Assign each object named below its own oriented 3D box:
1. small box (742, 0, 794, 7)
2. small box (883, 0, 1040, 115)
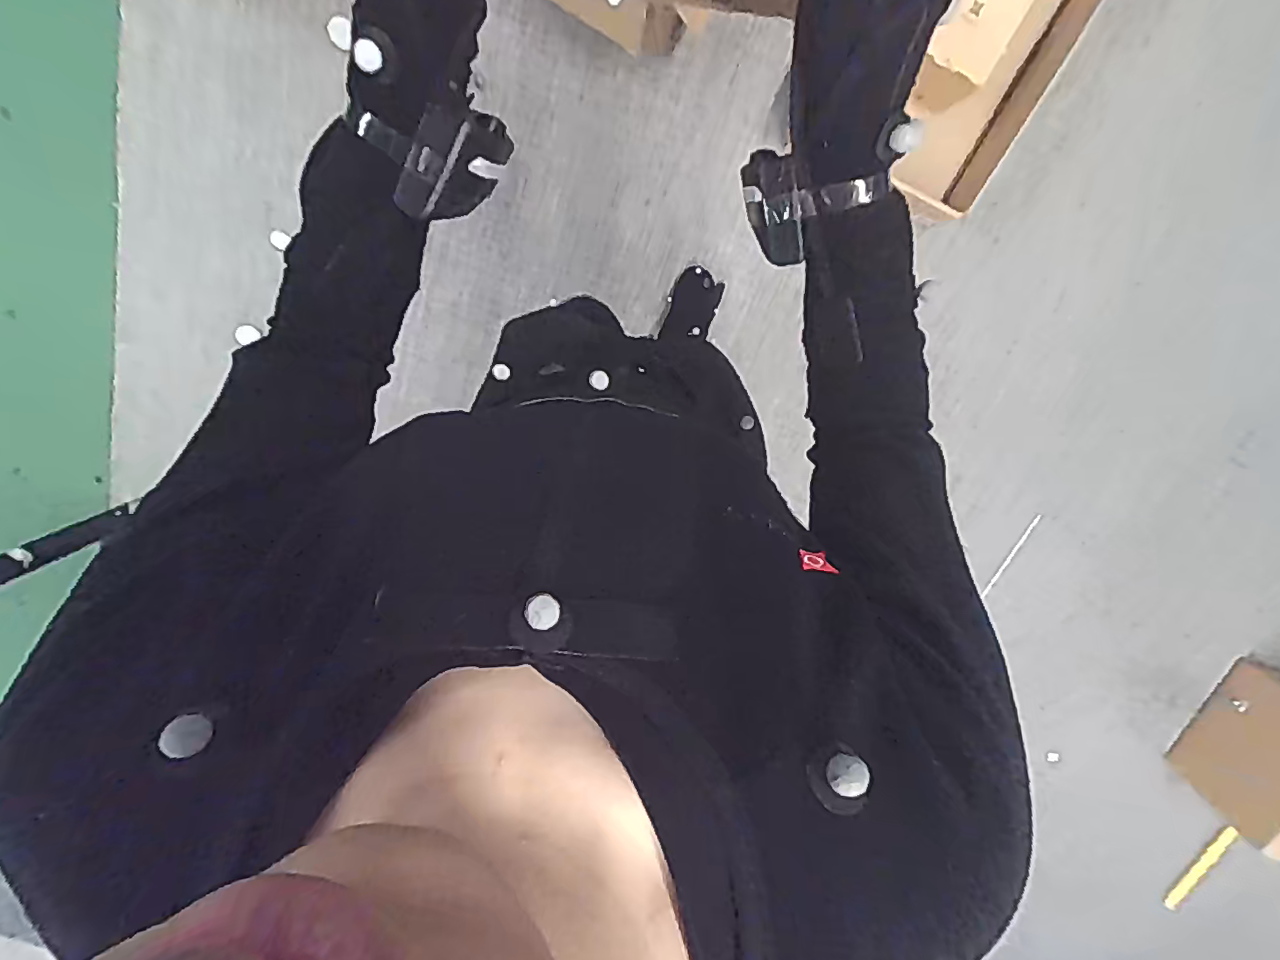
[{"bbox_3d":[0.038,-0.390,0.276,0.168,0.176,0.179,8,109,0],"label":"small box"},{"bbox_3d":[0.595,-0.837,1.019,0.168,0.176,0.179,25,109,-5],"label":"small box"}]
